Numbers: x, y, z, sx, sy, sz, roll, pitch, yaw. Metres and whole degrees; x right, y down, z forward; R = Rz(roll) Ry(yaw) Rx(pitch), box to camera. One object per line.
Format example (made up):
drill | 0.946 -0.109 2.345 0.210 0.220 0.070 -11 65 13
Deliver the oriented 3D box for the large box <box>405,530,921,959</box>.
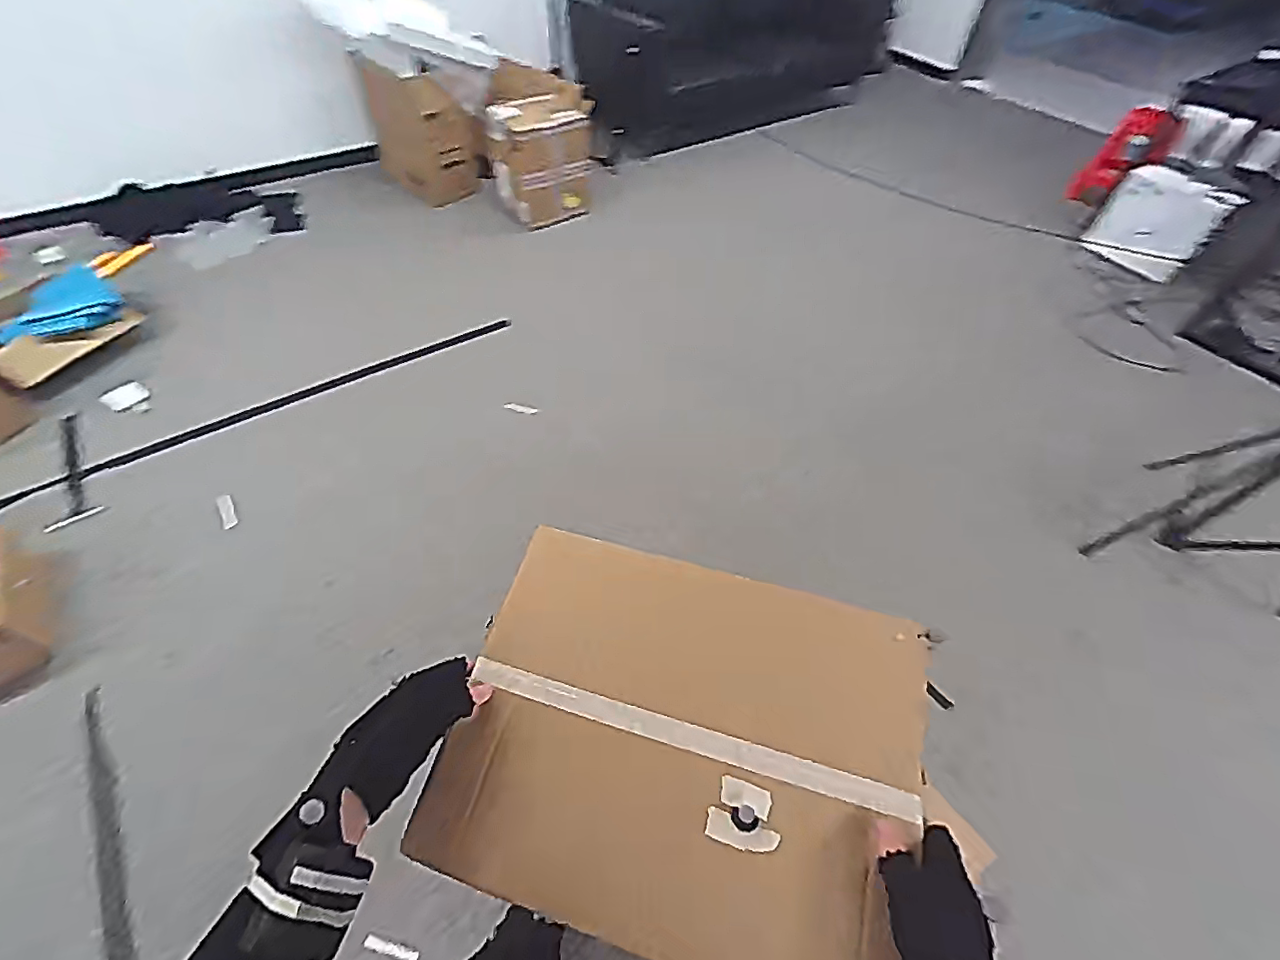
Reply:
large box | 0.044 0.289 0.602 0.408 0.320 0.320 11 63 11
